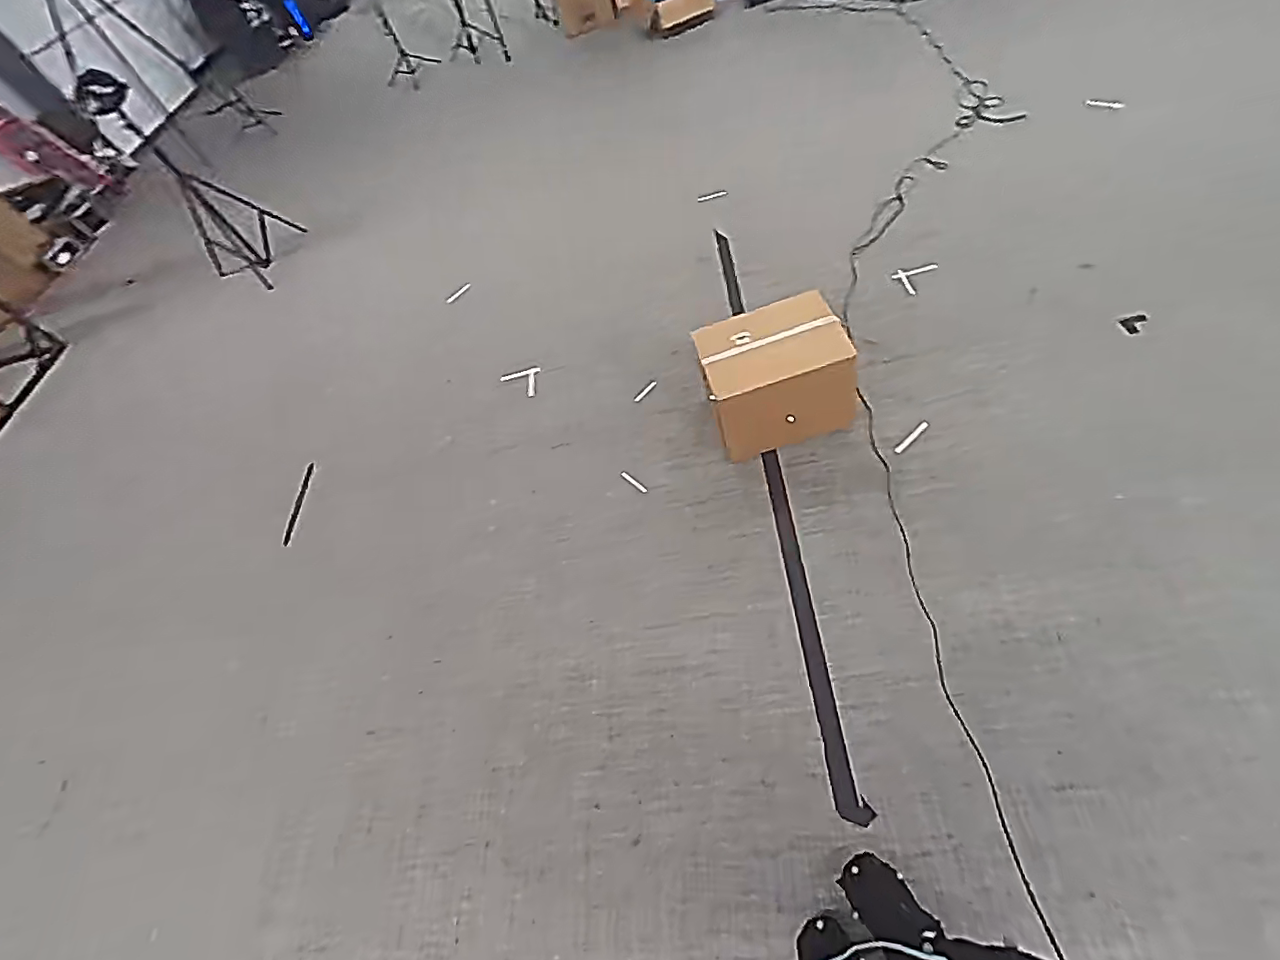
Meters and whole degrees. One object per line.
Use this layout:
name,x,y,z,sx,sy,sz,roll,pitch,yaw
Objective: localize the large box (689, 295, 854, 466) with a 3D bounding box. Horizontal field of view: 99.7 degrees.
large box,0.407,-0.301,1.685,0.408,0.320,0.320,-19,52,7
